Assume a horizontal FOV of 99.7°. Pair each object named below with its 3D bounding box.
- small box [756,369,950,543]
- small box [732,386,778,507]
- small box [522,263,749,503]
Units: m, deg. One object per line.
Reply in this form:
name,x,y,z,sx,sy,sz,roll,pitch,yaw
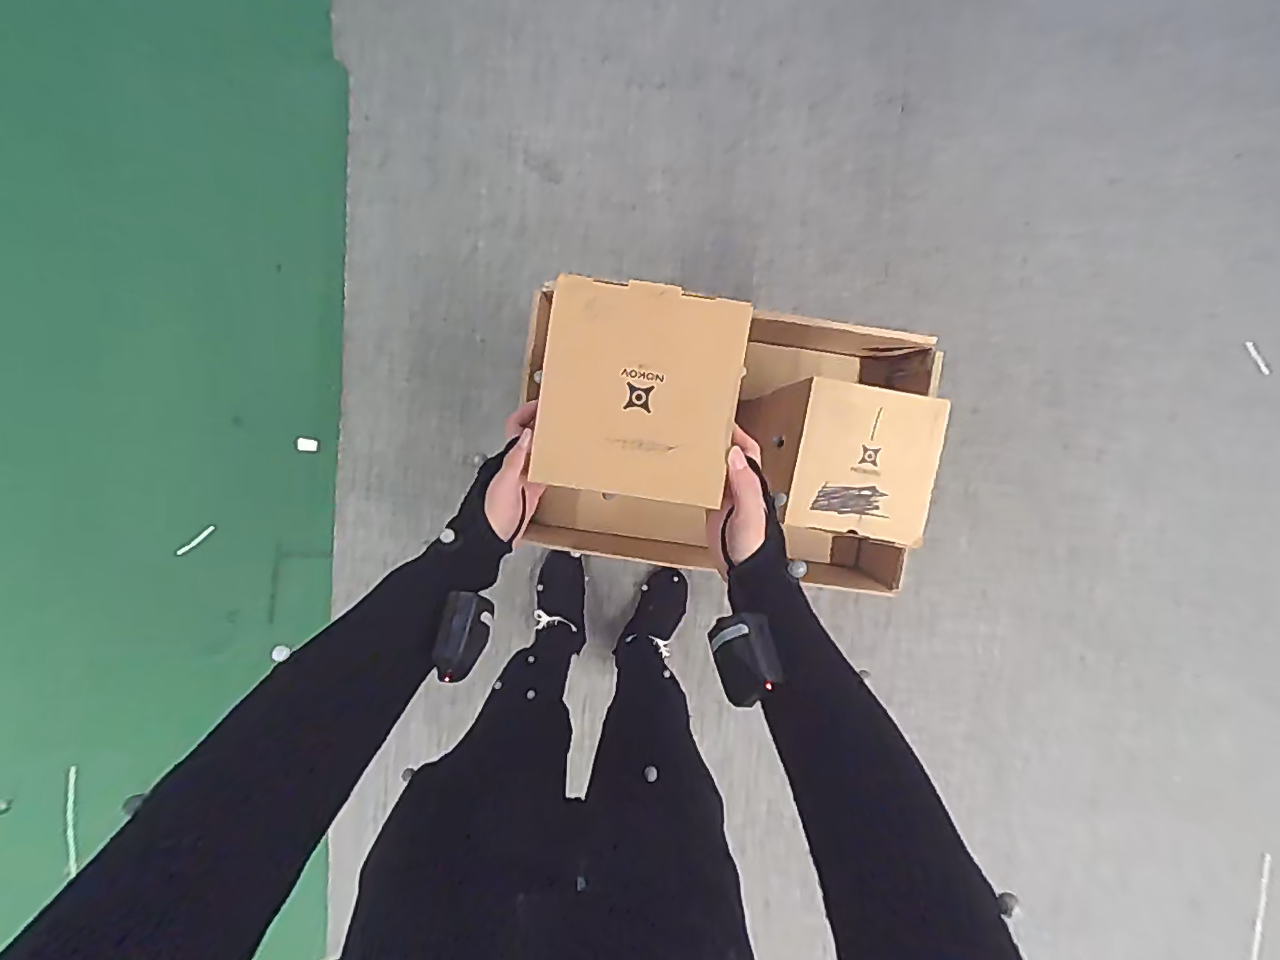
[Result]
small box,0.255,-0.032,0.693,0.168,0.176,0.179,10,93,-2
small box,0.251,-0.042,0.857,0.168,0.176,0.179,9,95,-1
small box,-0.005,-0.082,0.521,0.168,0.176,0.179,9,93,0
